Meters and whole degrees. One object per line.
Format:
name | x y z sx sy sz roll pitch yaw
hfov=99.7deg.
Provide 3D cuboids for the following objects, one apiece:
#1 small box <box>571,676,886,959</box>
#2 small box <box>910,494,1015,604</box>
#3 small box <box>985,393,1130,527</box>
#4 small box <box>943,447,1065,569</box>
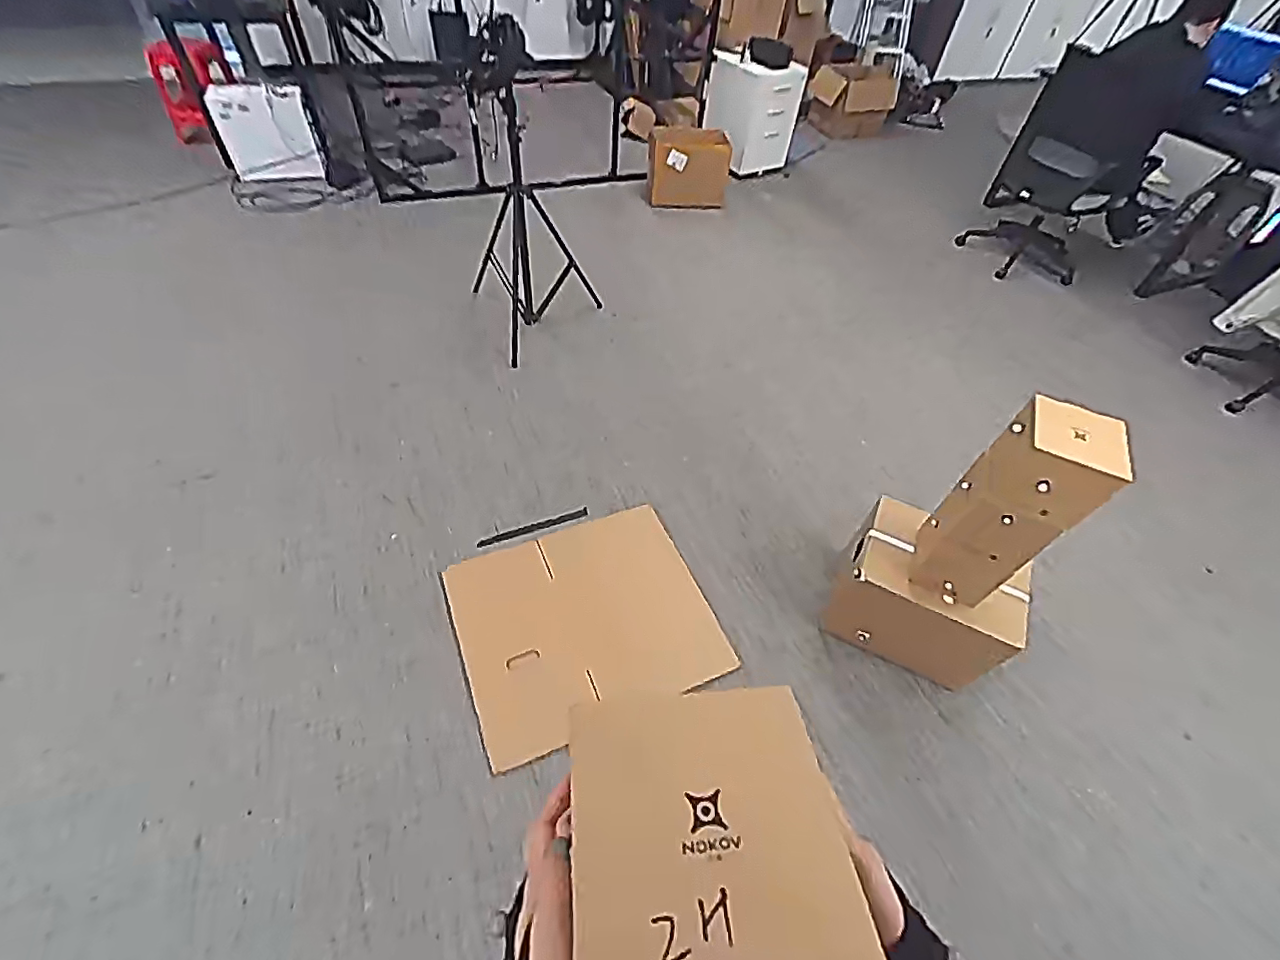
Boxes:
small box | 0.036 0.266 0.382 0.168 0.176 0.179 -3 40 -6
small box | 0.793 0.171 1.332 0.168 0.176 0.179 23 53 13
small box | 0.821 -0.037 1.081 0.168 0.176 0.179 23 52 13
small box | 0.806 0.064 1.208 0.168 0.176 0.179 23 51 14
